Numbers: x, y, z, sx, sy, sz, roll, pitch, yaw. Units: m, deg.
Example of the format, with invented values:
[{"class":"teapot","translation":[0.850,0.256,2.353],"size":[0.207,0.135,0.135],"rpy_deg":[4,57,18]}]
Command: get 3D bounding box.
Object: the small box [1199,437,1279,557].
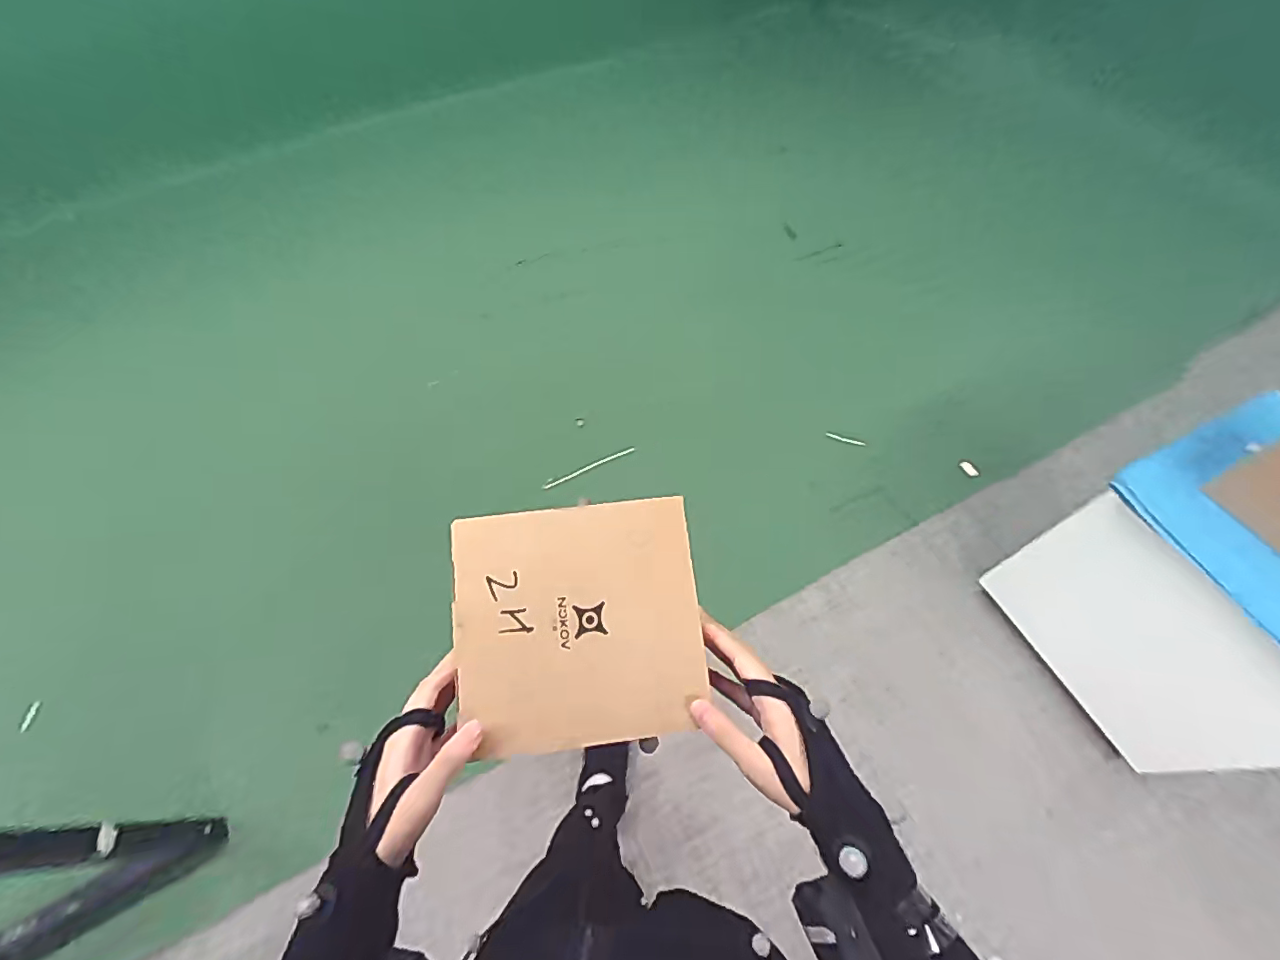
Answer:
[{"class":"small box","translation":[1.075,0.009,0.851],"size":[0.168,0.176,0.179],"rpy_deg":[-24,60,-12]}]
